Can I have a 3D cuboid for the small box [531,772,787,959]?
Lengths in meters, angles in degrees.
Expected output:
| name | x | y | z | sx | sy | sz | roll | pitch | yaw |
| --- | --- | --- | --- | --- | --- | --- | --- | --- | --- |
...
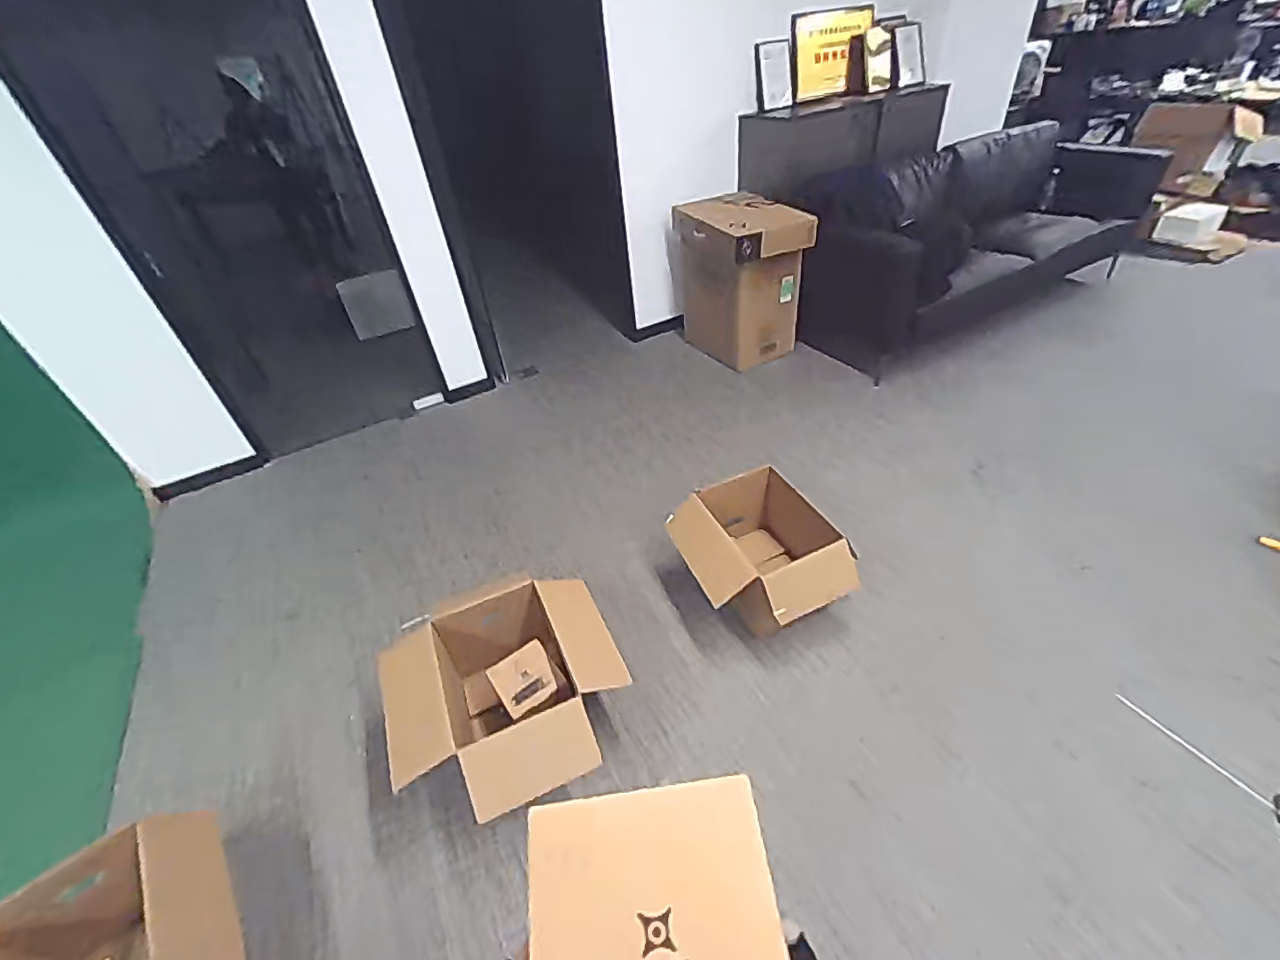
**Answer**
| name | x | y | z | sx | sy | sz | roll | pitch | yaw |
| --- | --- | --- | --- | --- | --- | --- | --- | --- | --- |
| small box | 0.011 | 0.345 | 0.413 | 0.168 | 0.176 | 0.179 | -6 | 52 | -4 |
